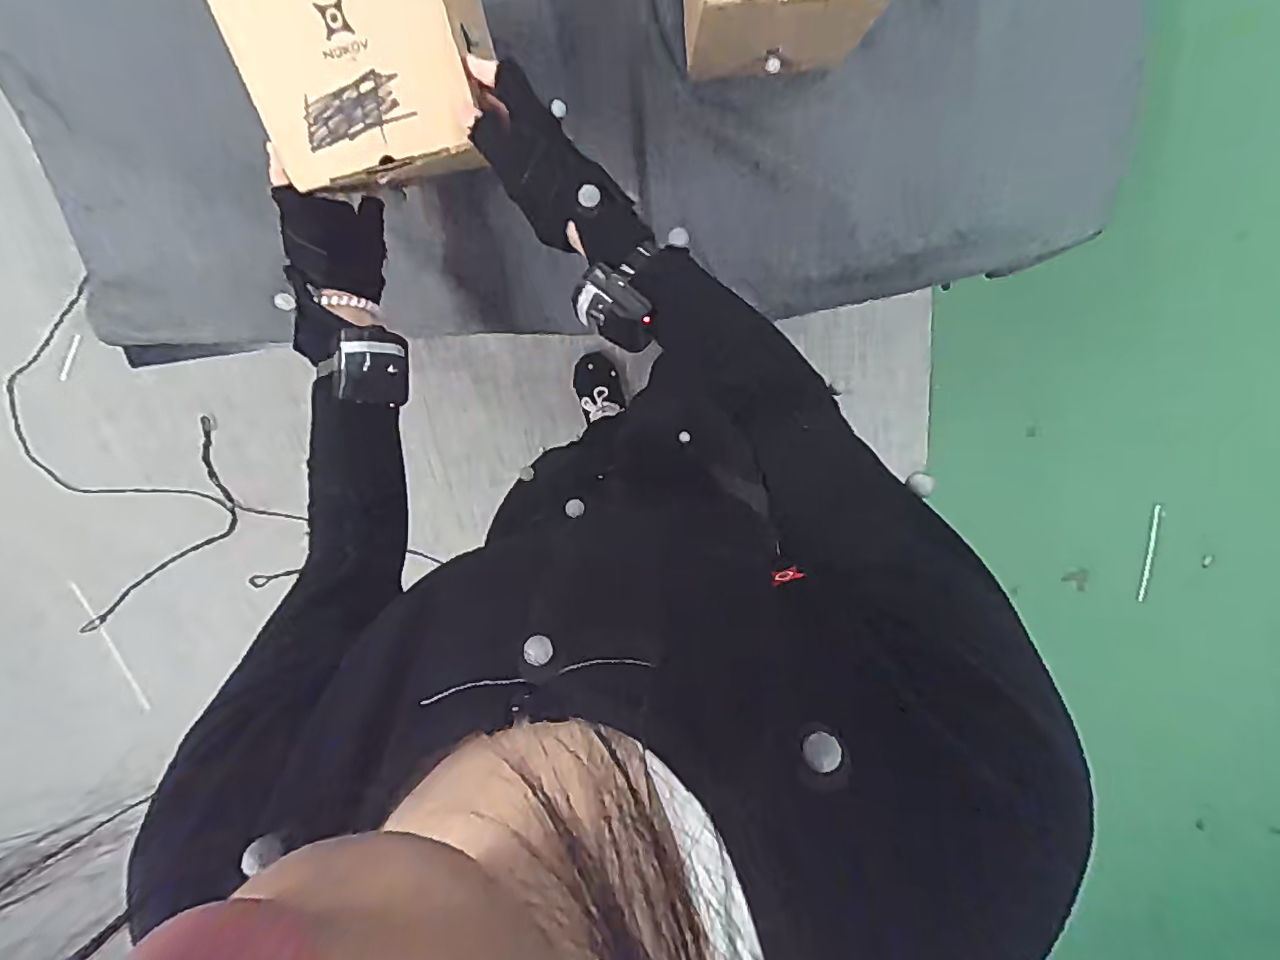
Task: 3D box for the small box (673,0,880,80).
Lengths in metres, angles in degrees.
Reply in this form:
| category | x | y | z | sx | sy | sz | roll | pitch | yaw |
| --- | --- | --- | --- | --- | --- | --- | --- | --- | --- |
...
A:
| category | x | y | z | sx | sy | sz | roll | pitch | yaw |
| --- | --- | --- | --- | --- | --- | --- | --- | --- | --- |
| small box | 0.117 | -0.498 | 0.493 | 0.168 | 0.176 | 0.179 | 0 | 112 | 0 |

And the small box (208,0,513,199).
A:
| category | x | y | z | sx | sy | sz | roll | pitch | yaw |
| --- | --- | --- | --- | --- | --- | --- | --- | --- | --- |
| small box | -0.225 | -0.361 | 0.477 | 0.168 | 0.176 | 0.179 | -12 | 116 | 4 |
